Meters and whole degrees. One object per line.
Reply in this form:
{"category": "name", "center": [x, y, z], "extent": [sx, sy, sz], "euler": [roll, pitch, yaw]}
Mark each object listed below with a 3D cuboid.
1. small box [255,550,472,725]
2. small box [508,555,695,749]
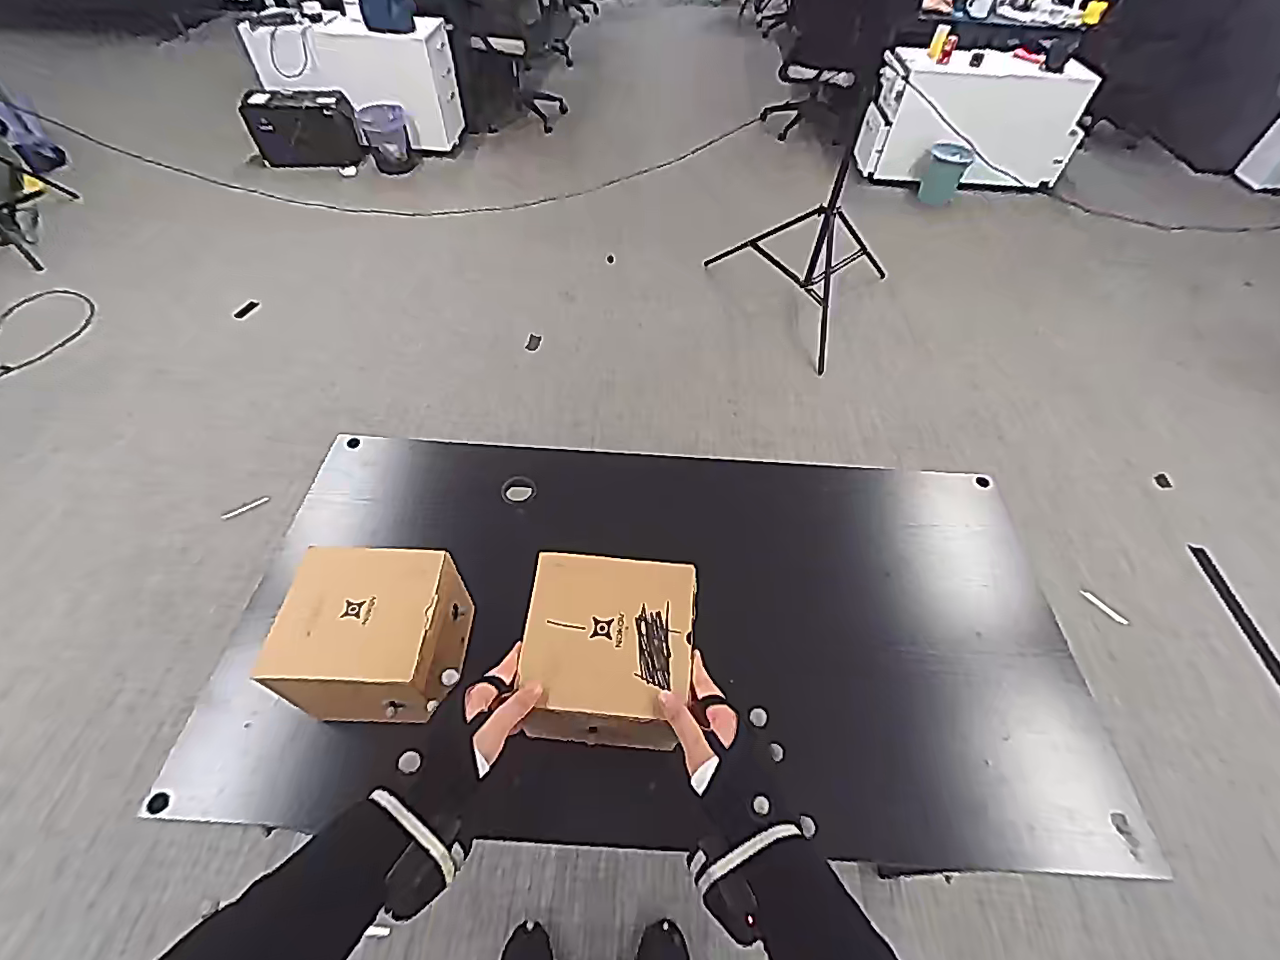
{"category": "small box", "center": [-0.328, 0.205, 0.691], "extent": [0.179, 0.176, 0.168], "euler": [1, 51, -1]}
{"category": "small box", "center": [-0.036, 0.203, 0.620], "extent": [0.179, 0.176, 0.168], "euler": [5, 55, 0]}
